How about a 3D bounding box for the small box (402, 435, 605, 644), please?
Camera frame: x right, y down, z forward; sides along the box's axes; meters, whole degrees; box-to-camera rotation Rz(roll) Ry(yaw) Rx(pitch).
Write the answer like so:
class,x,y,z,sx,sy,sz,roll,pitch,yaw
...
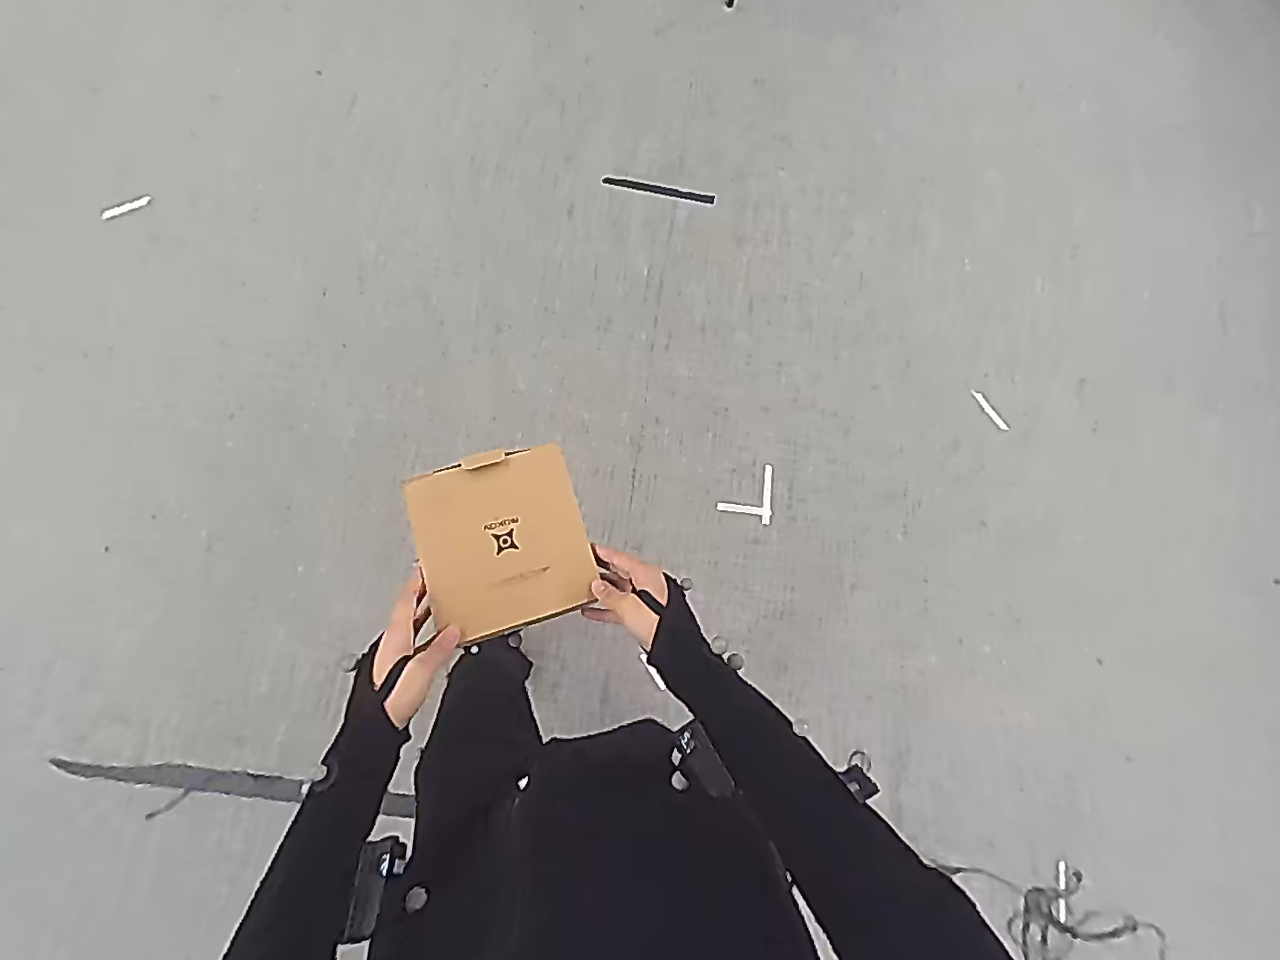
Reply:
class,x,y,z,sx,sy,sz,roll,pitch,yaw
small box,-0.150,0.074,0.605,0.168,0.176,0.179,-15,76,-16
